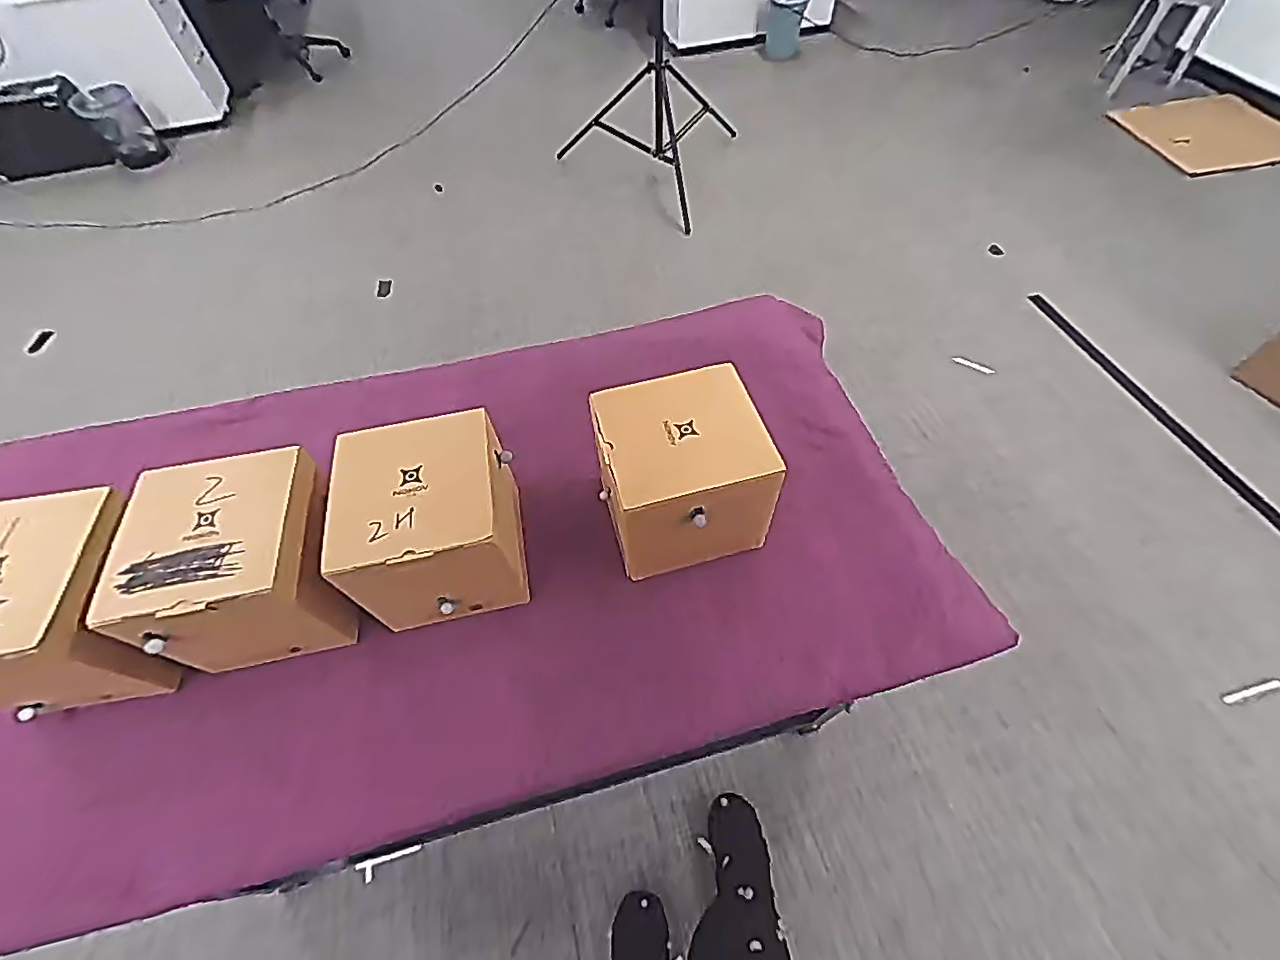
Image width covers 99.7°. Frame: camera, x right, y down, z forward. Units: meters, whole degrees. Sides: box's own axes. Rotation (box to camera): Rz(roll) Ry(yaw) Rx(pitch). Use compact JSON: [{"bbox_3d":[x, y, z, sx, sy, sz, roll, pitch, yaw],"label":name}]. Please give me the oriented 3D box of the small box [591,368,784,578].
[{"bbox_3d":[0.049,-0.004,0.652,0.179,0.176,0.168,-14,56,-6],"label":"small box"}]
